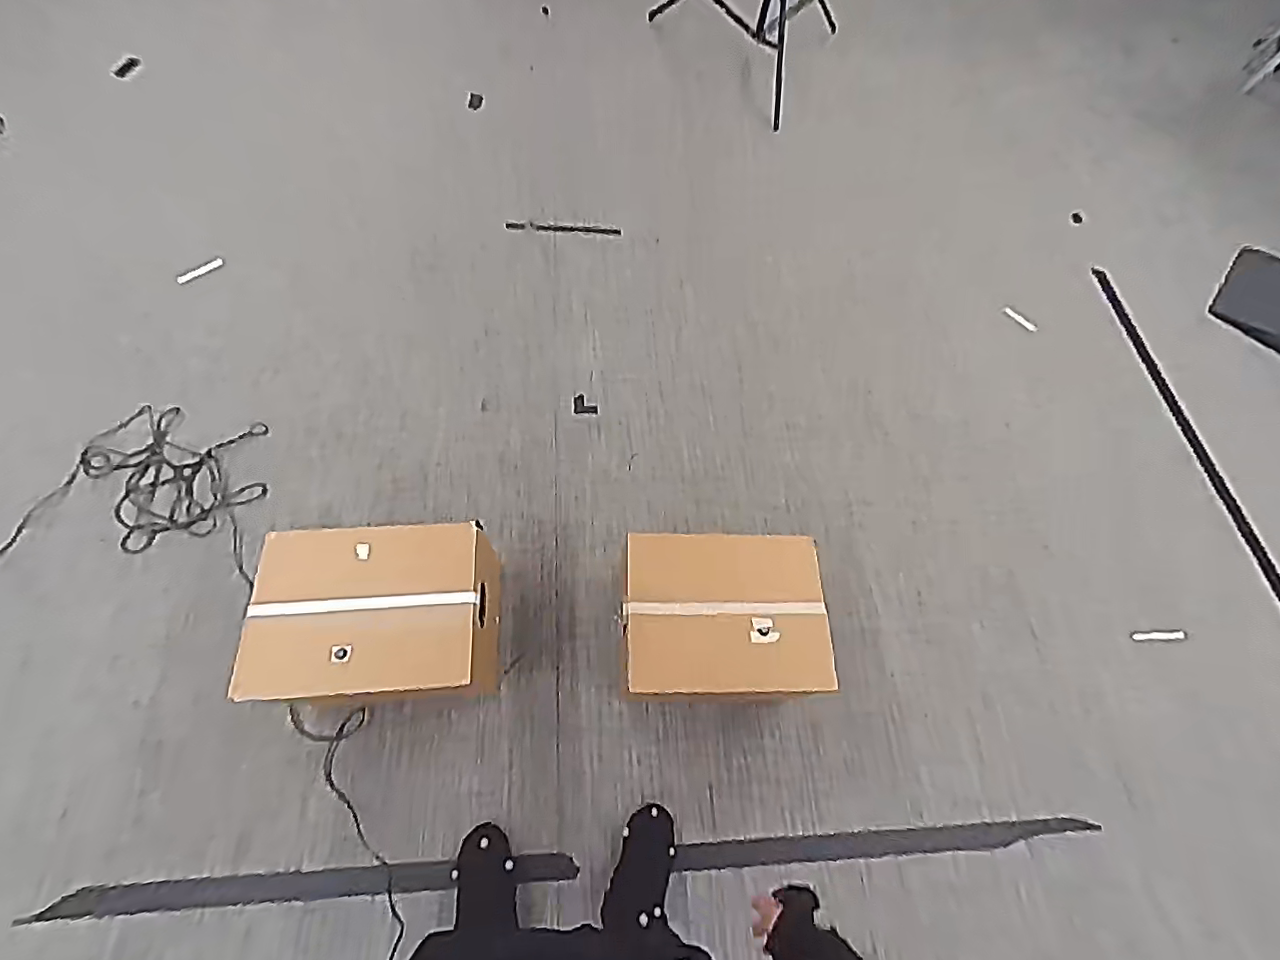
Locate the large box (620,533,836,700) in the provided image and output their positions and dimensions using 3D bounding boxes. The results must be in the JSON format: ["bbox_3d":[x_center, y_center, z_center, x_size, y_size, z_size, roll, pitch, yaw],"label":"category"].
[{"bbox_3d":[0.165,0.317,1.222,0.408,0.320,0.320,2,65,-6],"label":"large box"}]
